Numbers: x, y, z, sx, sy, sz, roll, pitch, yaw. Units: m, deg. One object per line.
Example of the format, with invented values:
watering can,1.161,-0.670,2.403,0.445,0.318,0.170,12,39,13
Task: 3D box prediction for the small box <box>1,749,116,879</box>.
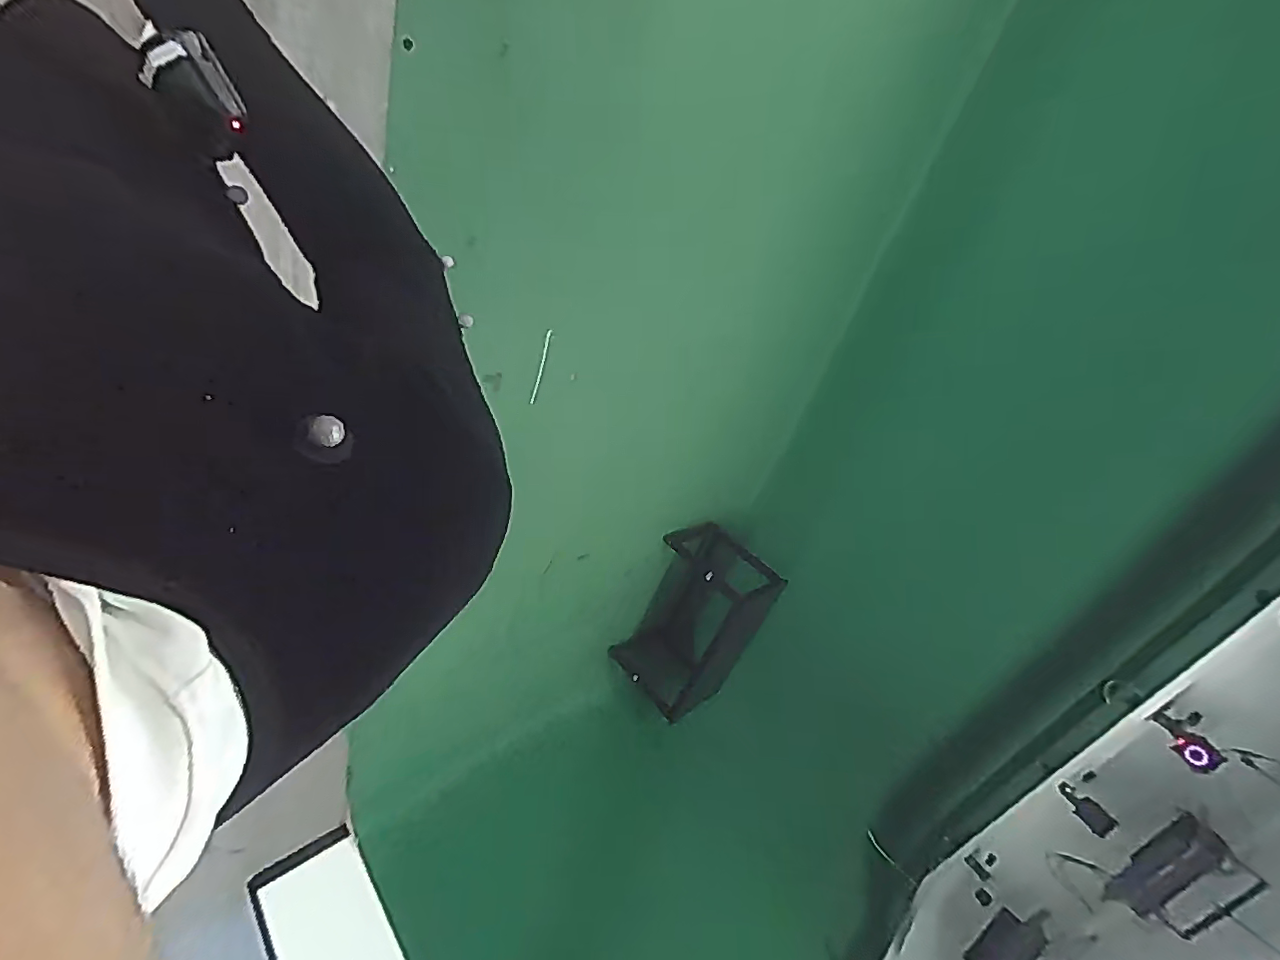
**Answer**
small box,-1.360,0.768,1.268,0.168,0.176,0.179,-9,132,-48
